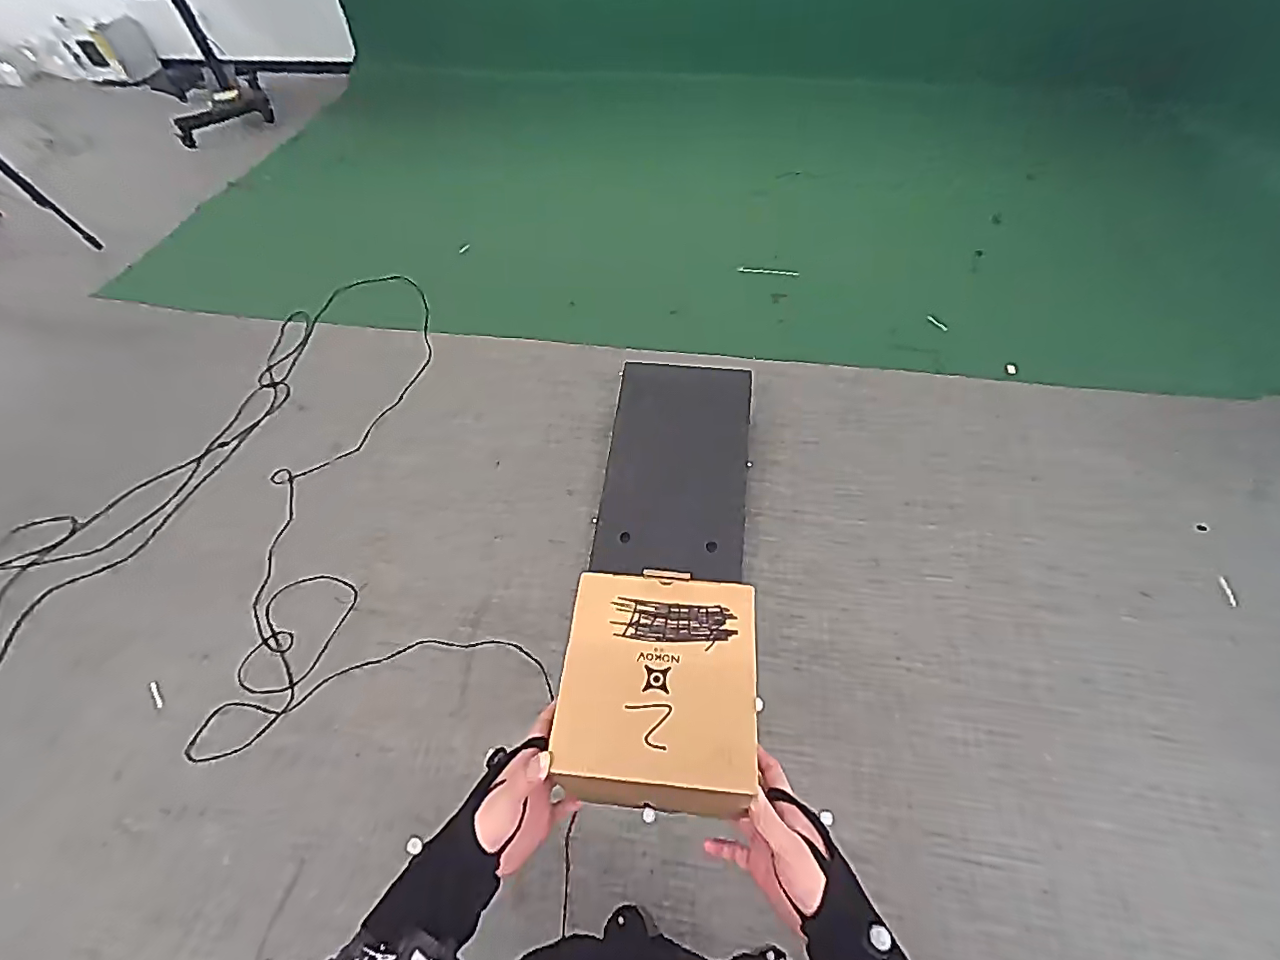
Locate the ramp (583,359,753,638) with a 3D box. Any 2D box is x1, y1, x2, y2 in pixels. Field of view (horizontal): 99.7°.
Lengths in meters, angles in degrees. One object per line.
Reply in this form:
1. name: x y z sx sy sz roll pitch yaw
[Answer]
1. ramp: 0.125 0.008 1.849 0.509 0.206 0.991 5 55 4
